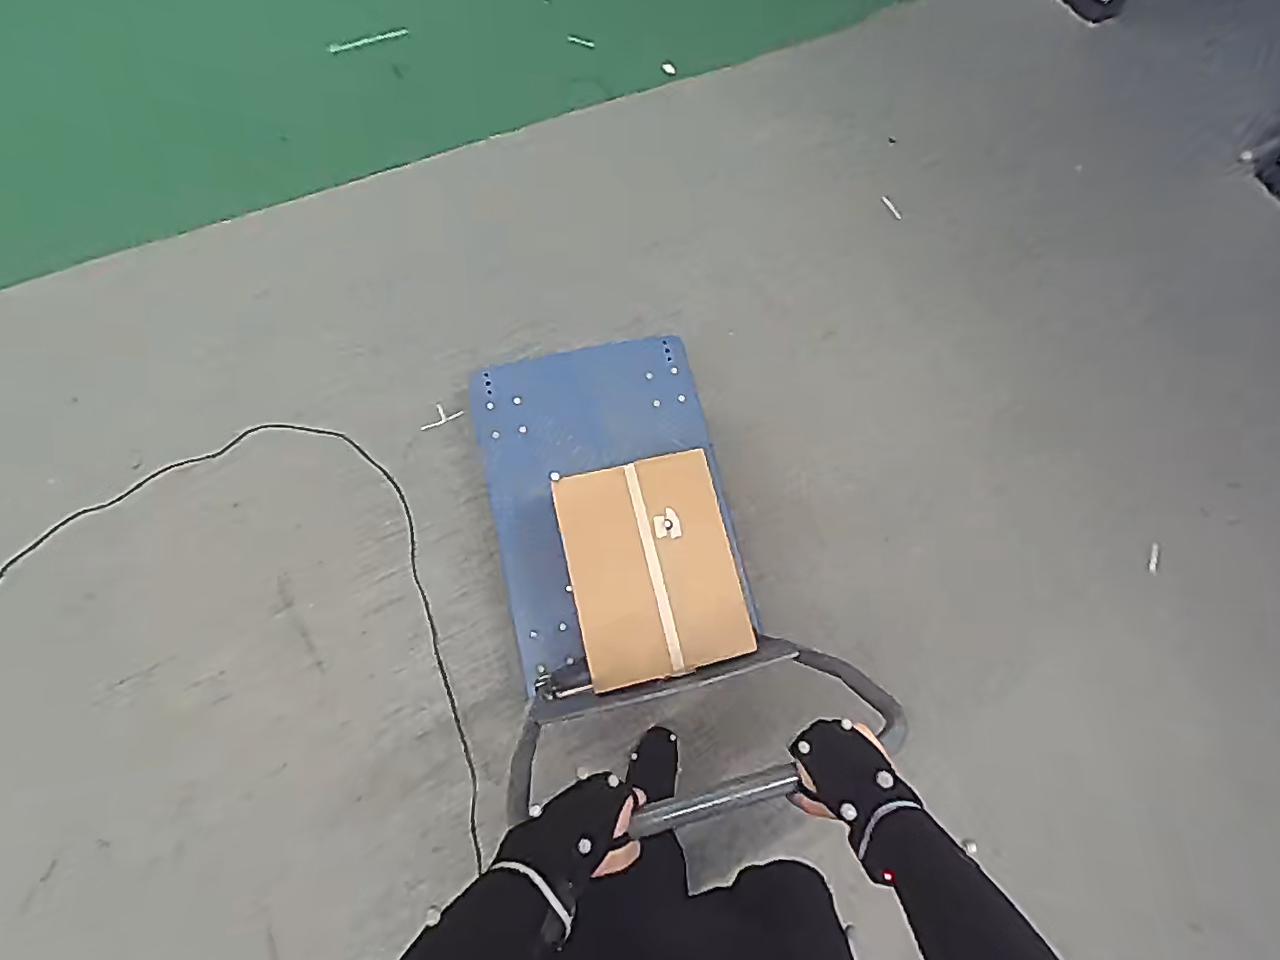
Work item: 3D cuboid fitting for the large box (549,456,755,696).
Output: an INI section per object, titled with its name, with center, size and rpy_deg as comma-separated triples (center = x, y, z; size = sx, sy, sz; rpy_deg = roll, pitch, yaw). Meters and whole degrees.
[large box]
center = 0.009, 0.208, 1.178
size = 0.320, 0.320, 0.408
rpy_deg = -13, 77, -9
